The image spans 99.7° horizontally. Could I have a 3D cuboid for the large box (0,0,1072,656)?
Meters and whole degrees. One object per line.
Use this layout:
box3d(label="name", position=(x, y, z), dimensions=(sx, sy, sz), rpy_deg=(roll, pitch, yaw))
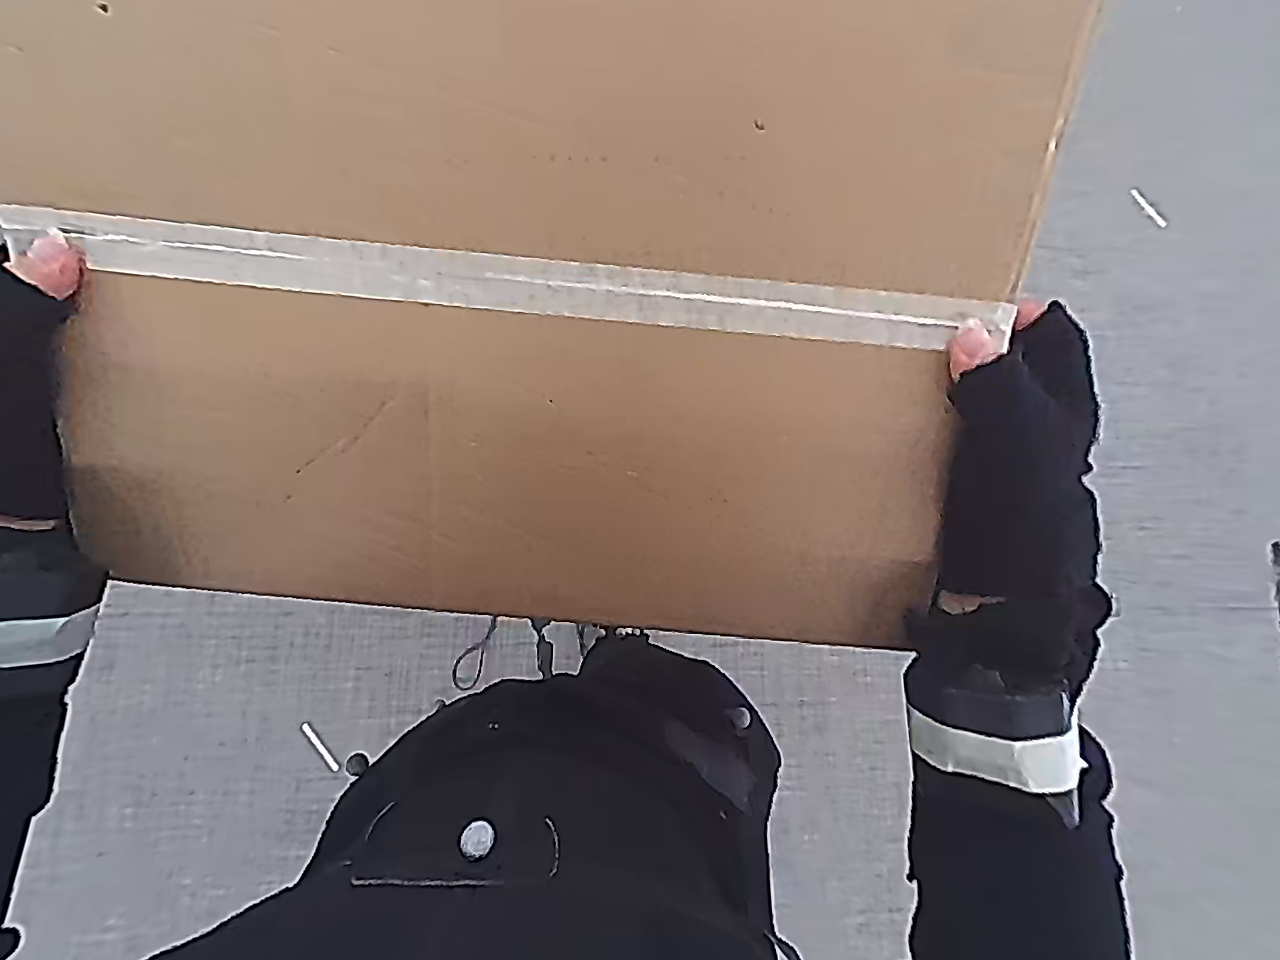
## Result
box3d(label="large box", position=(-0.050, -0.113, 0.373), dimensions=(0.408, 0.320, 0.320), rpy_deg=(5, 108, -1))
